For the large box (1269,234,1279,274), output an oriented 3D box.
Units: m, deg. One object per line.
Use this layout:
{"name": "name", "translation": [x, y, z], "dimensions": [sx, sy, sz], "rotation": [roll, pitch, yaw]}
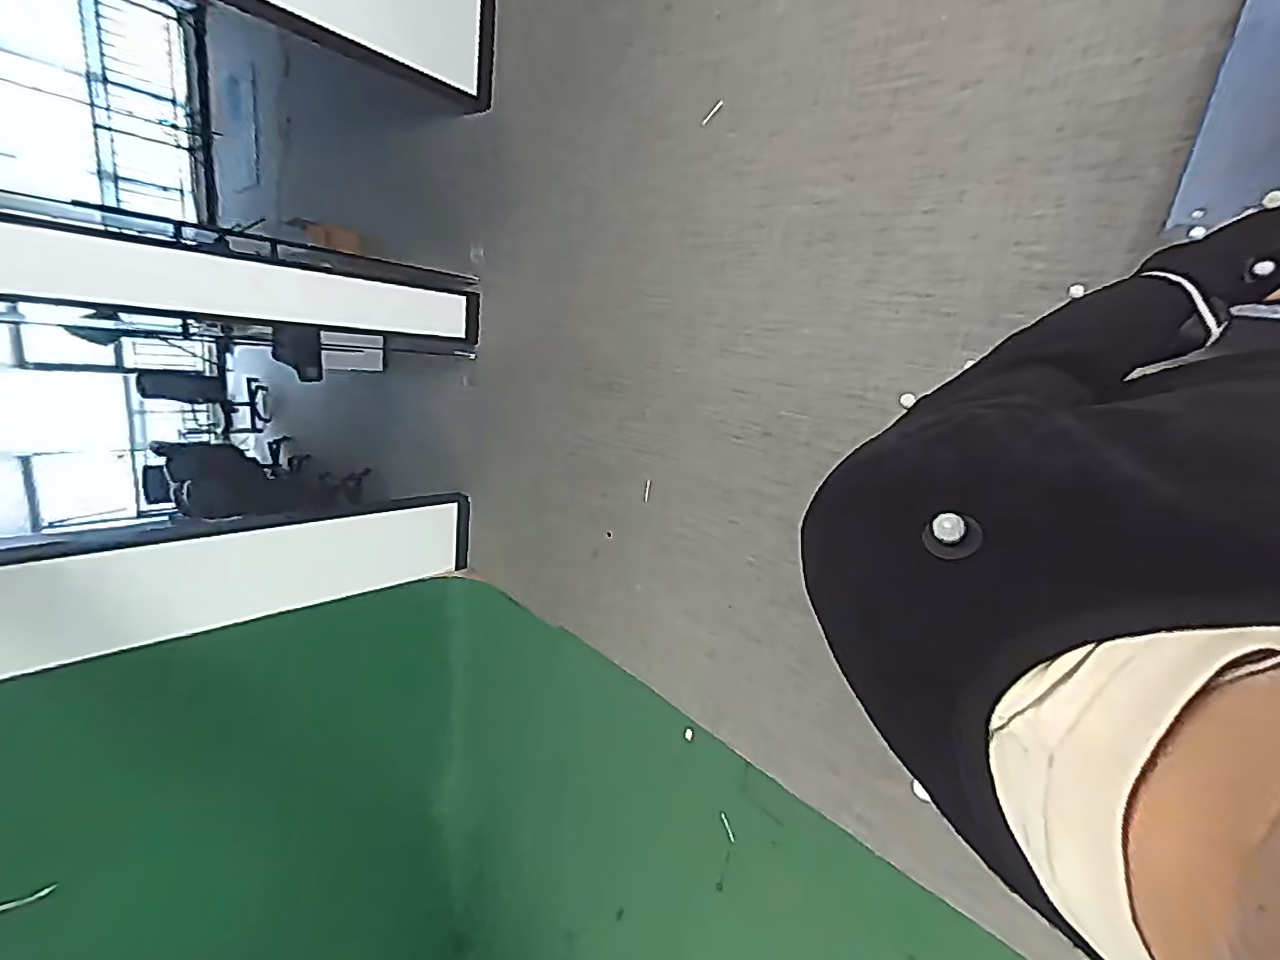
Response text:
{"name": "large box", "translation": [1.151, -0.511, 0.718], "dimensions": [0.320, 0.320, 0.408], "rotation": [21, 108, 40]}
